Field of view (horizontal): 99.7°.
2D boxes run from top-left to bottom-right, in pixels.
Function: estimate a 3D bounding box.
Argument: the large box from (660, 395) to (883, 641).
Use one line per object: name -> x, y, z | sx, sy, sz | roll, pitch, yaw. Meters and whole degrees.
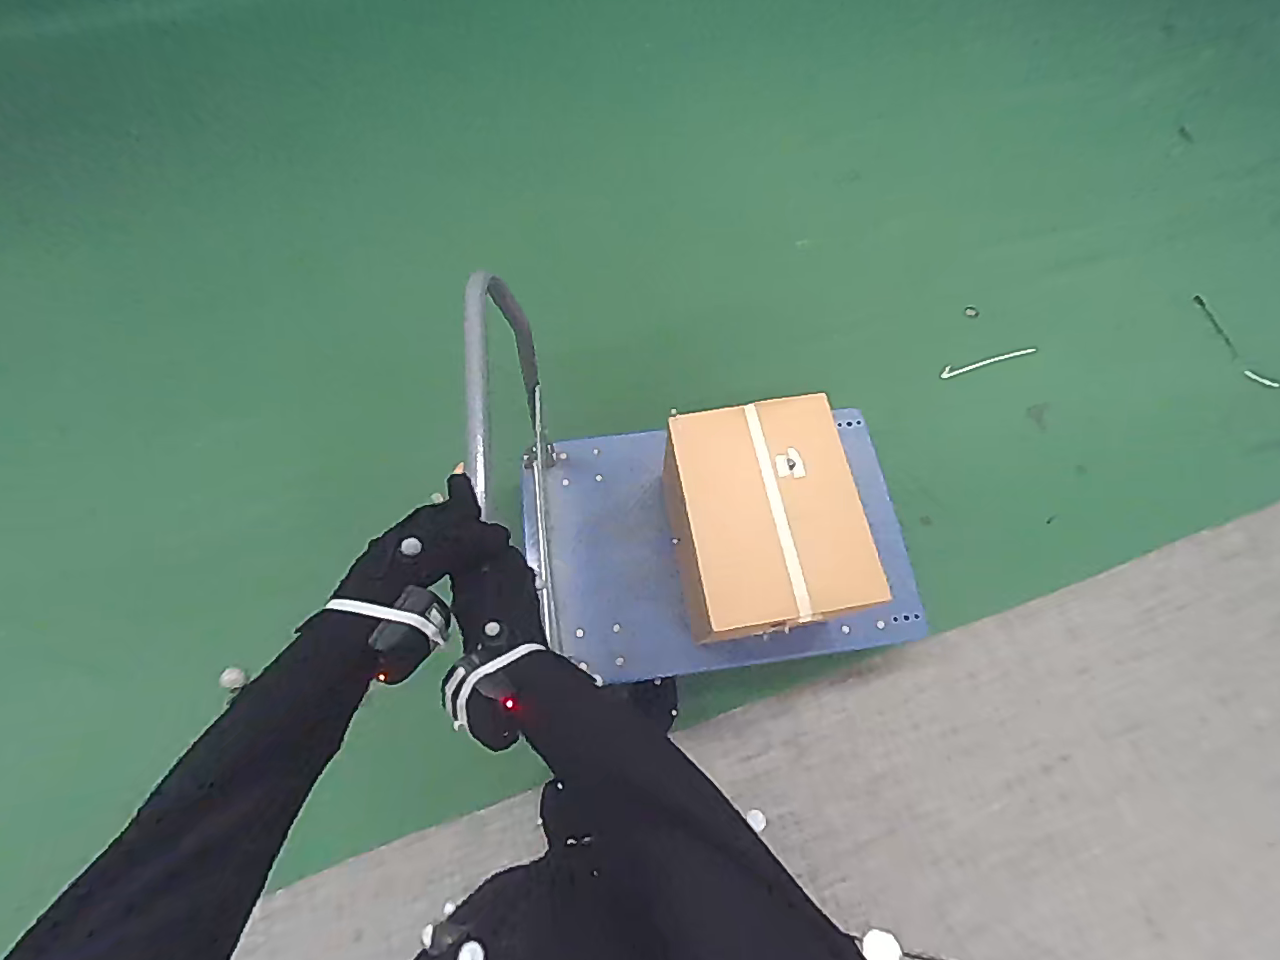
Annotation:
large box -> 0.231, 0.092, 1.116 | 0.320, 0.320, 0.408 | -9, 69, -4
